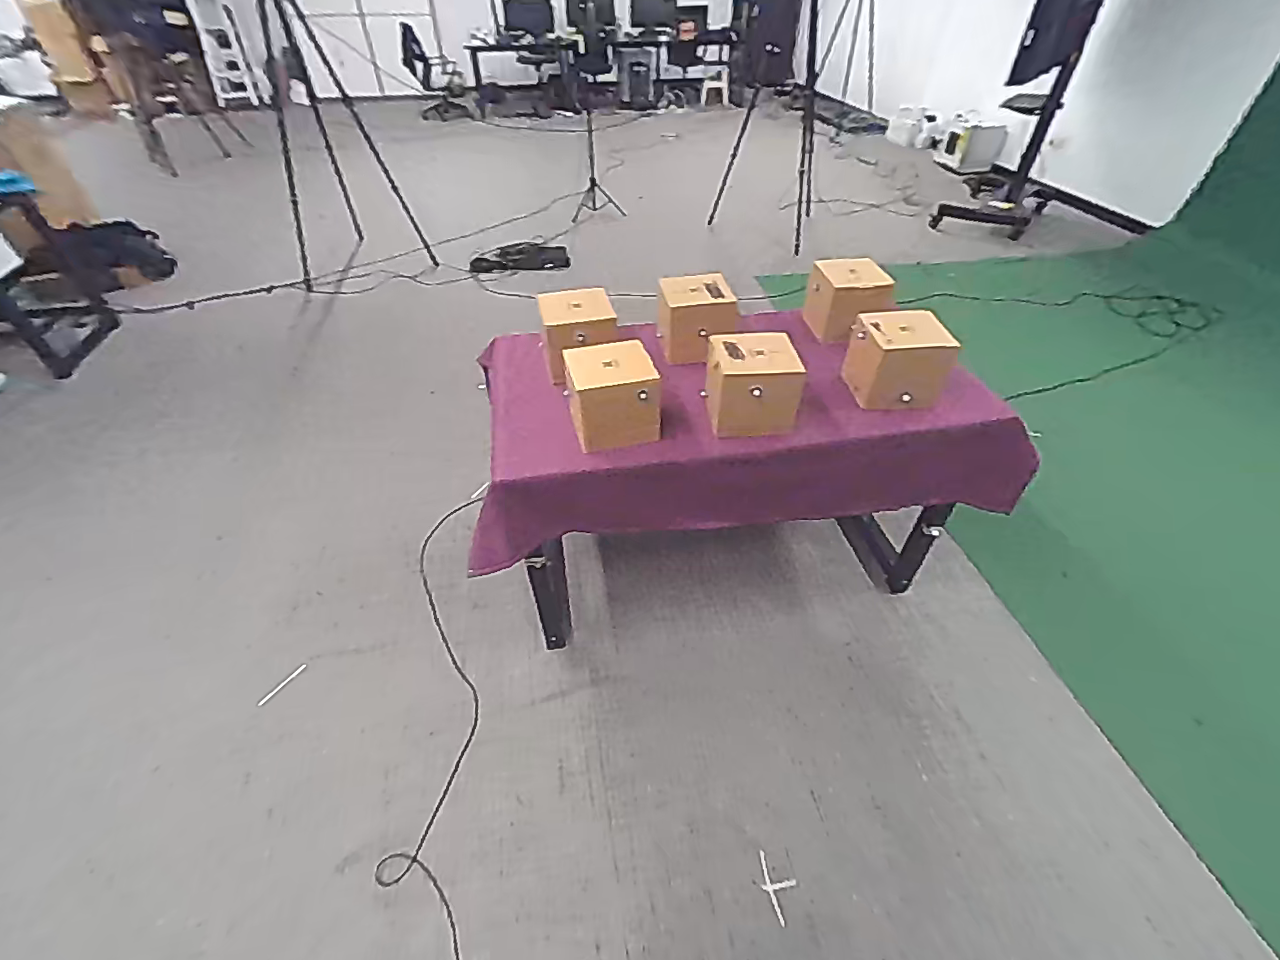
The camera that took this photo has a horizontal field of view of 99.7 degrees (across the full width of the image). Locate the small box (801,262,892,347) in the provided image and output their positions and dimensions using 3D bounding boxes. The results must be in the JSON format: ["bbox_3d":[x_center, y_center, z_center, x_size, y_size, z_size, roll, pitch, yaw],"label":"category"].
[{"bbox_3d":[0.567,-0.492,1.516,0.168,0.176,0.179,-5,45,-4],"label":"small box"}]

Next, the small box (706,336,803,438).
[{"bbox_3d":[0.248,-0.208,1.222,0.179,0.176,0.168,-2,44,-3],"label":"small box"}]

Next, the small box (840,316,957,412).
[{"bbox_3d":[0.606,-0.276,1.292,0.179,0.176,0.168,-2,43,-2],"label":"small box"}]

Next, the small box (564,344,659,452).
[{"bbox_3d":[-0.063,-0.179,1.194,0.179,0.176,0.168,-10,44,-12],"label":"small box"}]
